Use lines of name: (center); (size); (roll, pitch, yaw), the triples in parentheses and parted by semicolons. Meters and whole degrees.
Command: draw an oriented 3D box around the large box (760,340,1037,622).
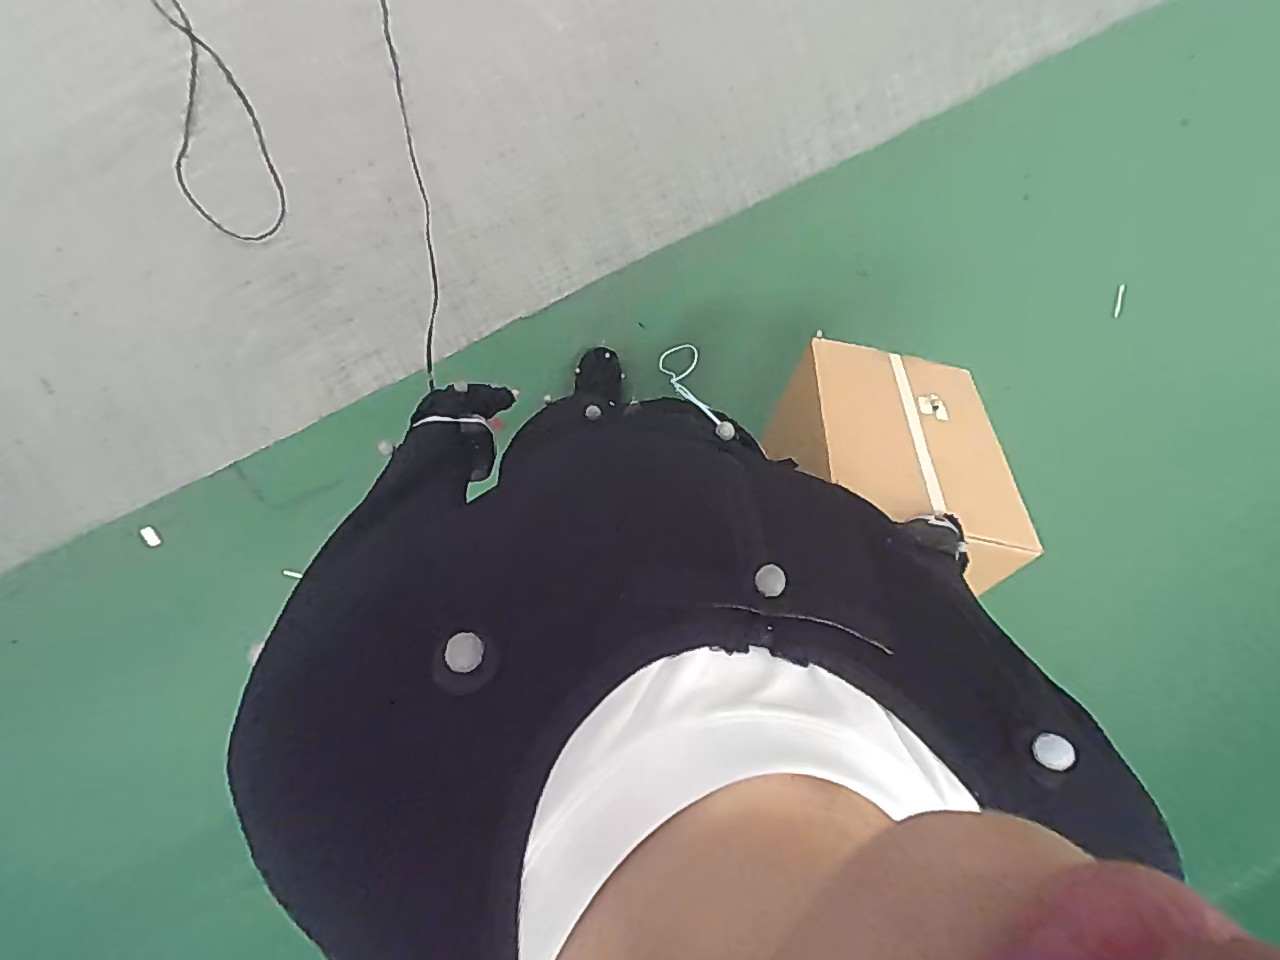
large box: (0.426, 0.005, 1.015); (0.320, 0.408, 0.320); (11, 141, -4)
